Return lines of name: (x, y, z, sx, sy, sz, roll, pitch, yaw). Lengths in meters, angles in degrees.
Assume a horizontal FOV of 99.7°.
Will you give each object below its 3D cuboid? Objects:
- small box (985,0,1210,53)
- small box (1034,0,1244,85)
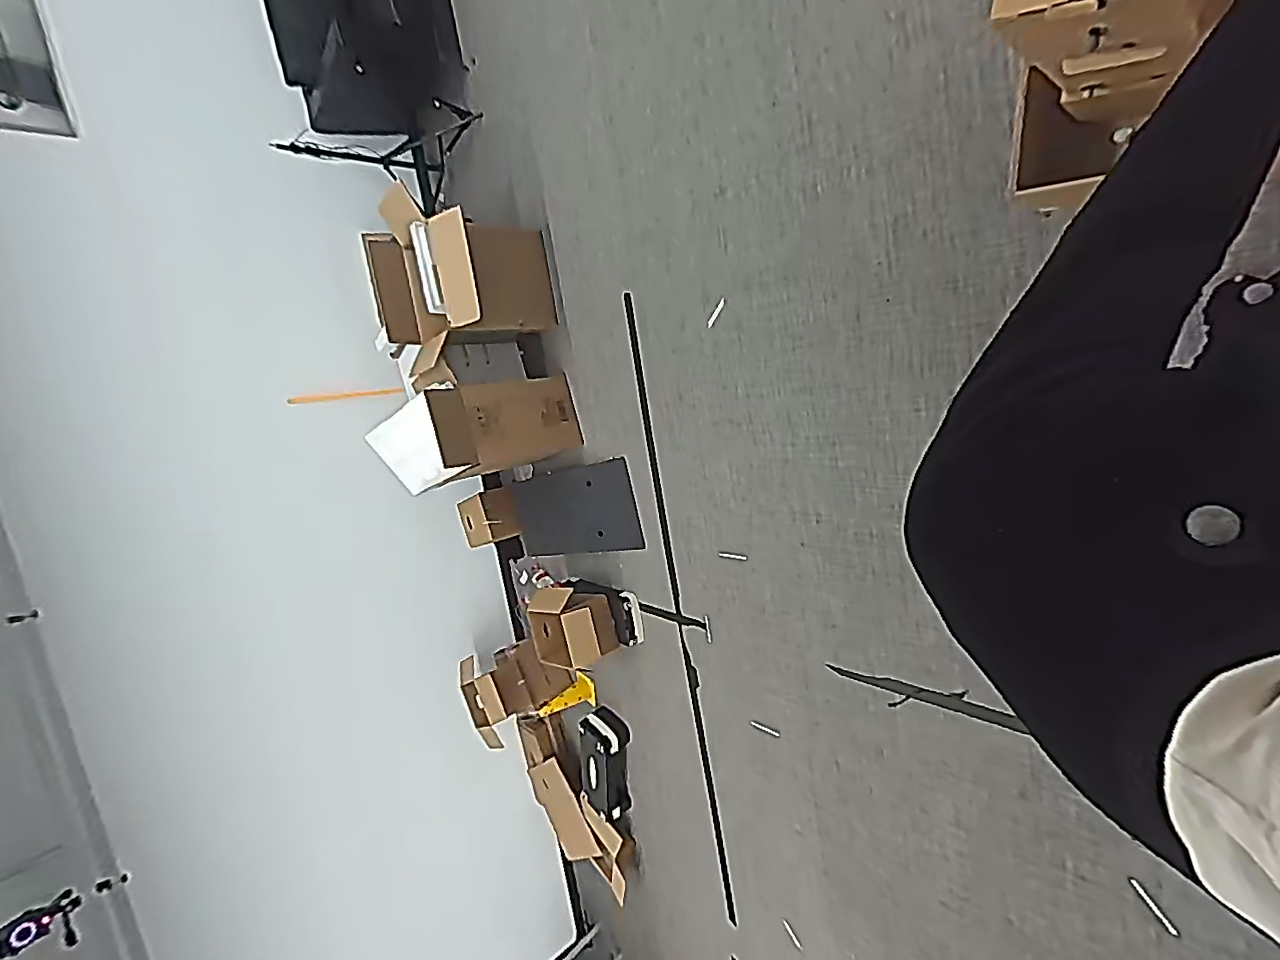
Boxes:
small box: (0.501, -0.574, 0.560, 0.168, 0.176, 0.179, 28, 123, 43)
small box: (0.626, -0.612, 0.661, 0.168, 0.176, 0.179, 24, 118, 45)
